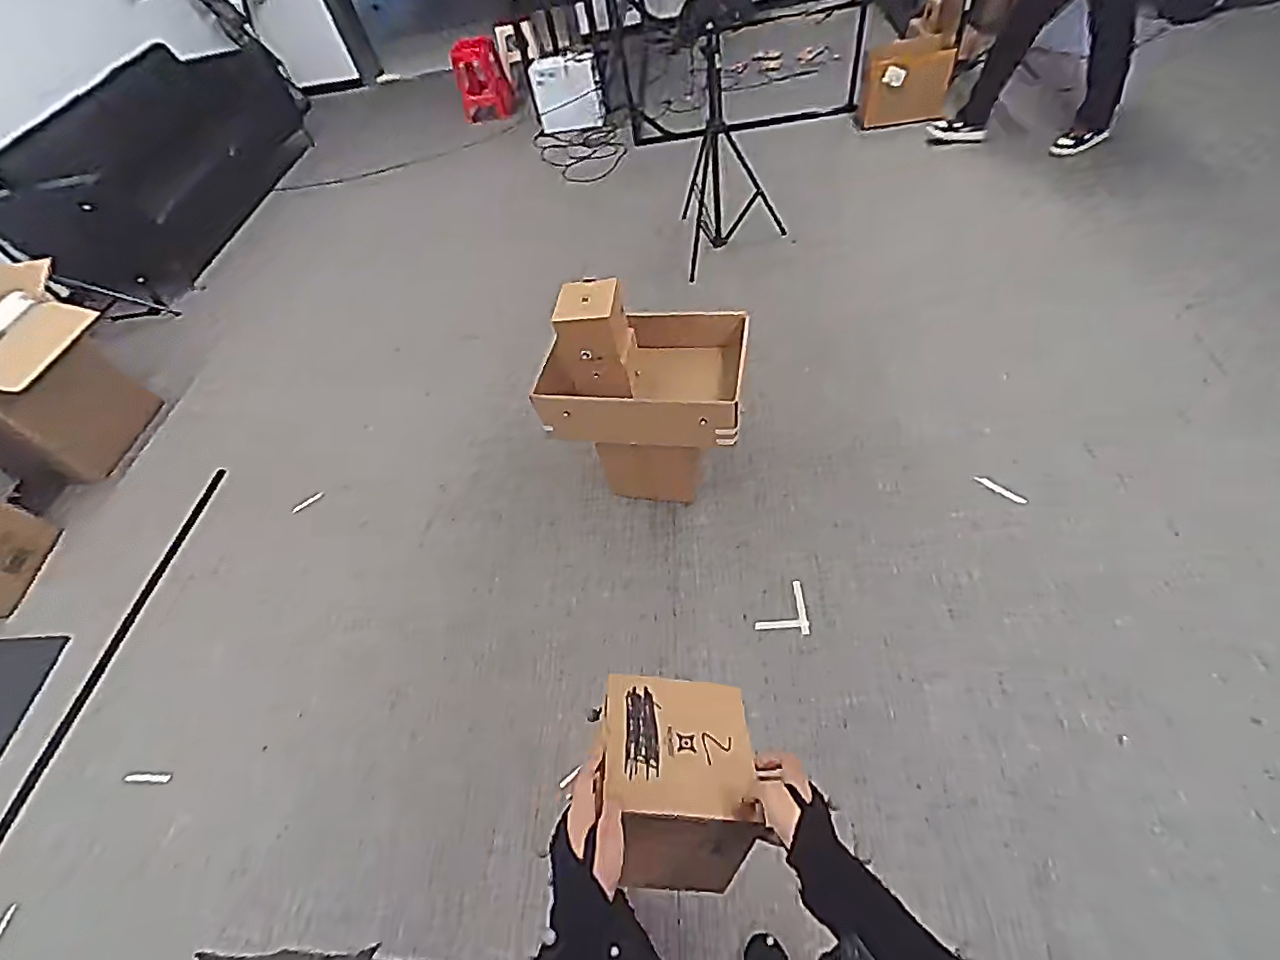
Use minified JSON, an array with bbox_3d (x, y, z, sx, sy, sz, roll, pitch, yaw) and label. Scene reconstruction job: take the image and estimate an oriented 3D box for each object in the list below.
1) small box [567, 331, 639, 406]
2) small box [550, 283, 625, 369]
[{"bbox_3d":[-0.108,-0.345,1.690,0.179,0.176,0.168,2,54,11],"label":"small box"},{"bbox_3d":[-0.144,-0.444,1.564,0.168,0.176,0.179,-1,53,11],"label":"small box"}]
